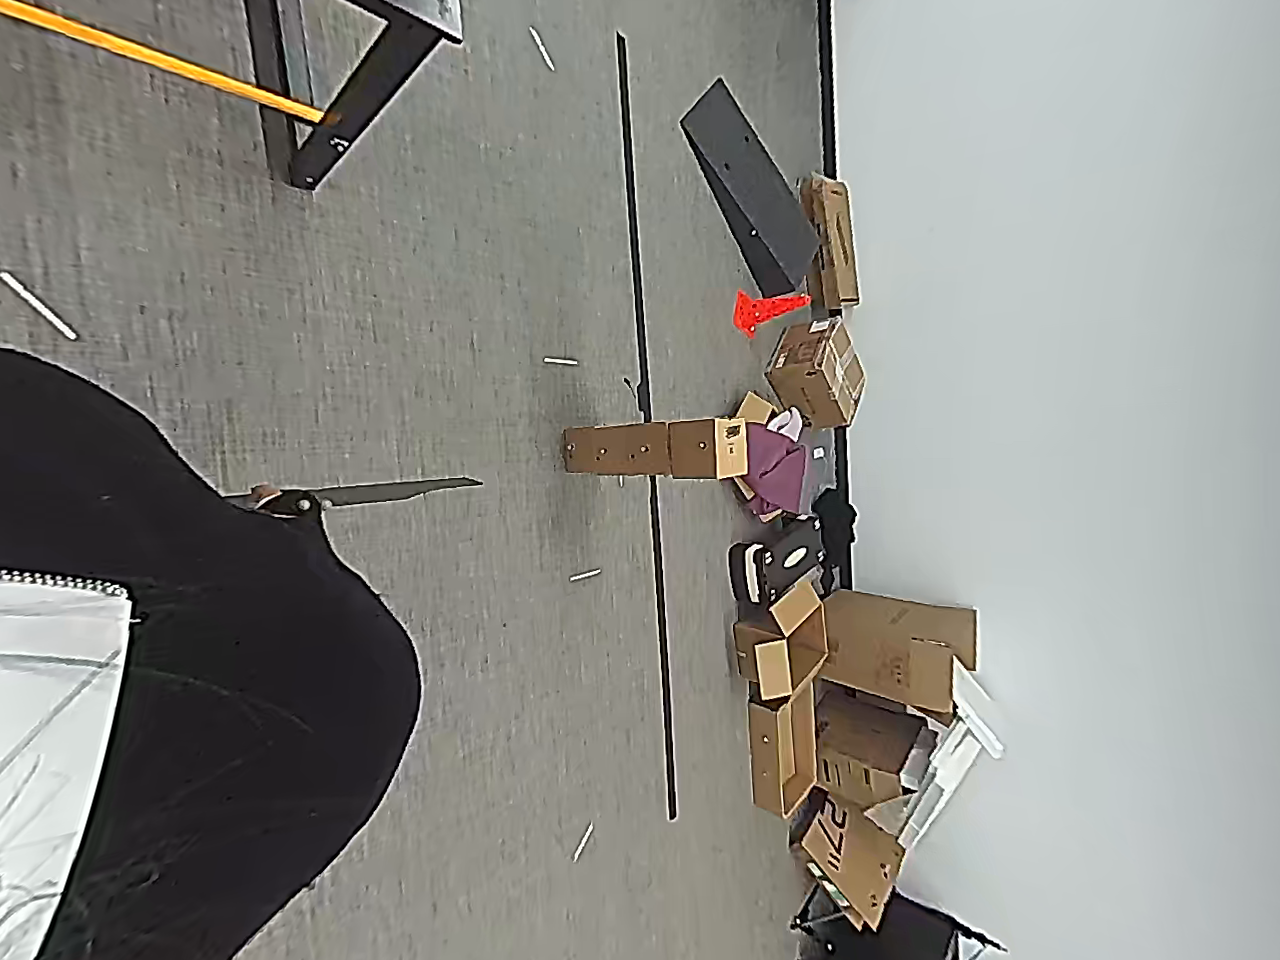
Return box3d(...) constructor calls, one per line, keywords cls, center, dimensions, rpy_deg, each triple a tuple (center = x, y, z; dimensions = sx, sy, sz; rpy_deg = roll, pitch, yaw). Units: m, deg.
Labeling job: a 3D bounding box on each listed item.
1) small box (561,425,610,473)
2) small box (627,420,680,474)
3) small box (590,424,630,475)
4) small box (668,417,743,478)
box3d(cls="small box", center=(-0.168, -0.115, 1.979), dimensions=(0.179, 0.176, 0.168), rpy_deg=(-8, 95, -46))
box3d(cls="small box", center=(0.068, -0.105, 1.750), dimensions=(0.179, 0.176, 0.168), rpy_deg=(-6, 94, -47))
box3d(cls="small box", center=(-0.051, -0.106, 1.862), dimensions=(0.179, 0.176, 0.168), rpy_deg=(-7, 95, -47))
box3d(cls="small box", center=(0.197, -0.098, 1.646), dimensions=(0.168, 0.176, 0.179), rpy_deg=(-9, 97, -47))
